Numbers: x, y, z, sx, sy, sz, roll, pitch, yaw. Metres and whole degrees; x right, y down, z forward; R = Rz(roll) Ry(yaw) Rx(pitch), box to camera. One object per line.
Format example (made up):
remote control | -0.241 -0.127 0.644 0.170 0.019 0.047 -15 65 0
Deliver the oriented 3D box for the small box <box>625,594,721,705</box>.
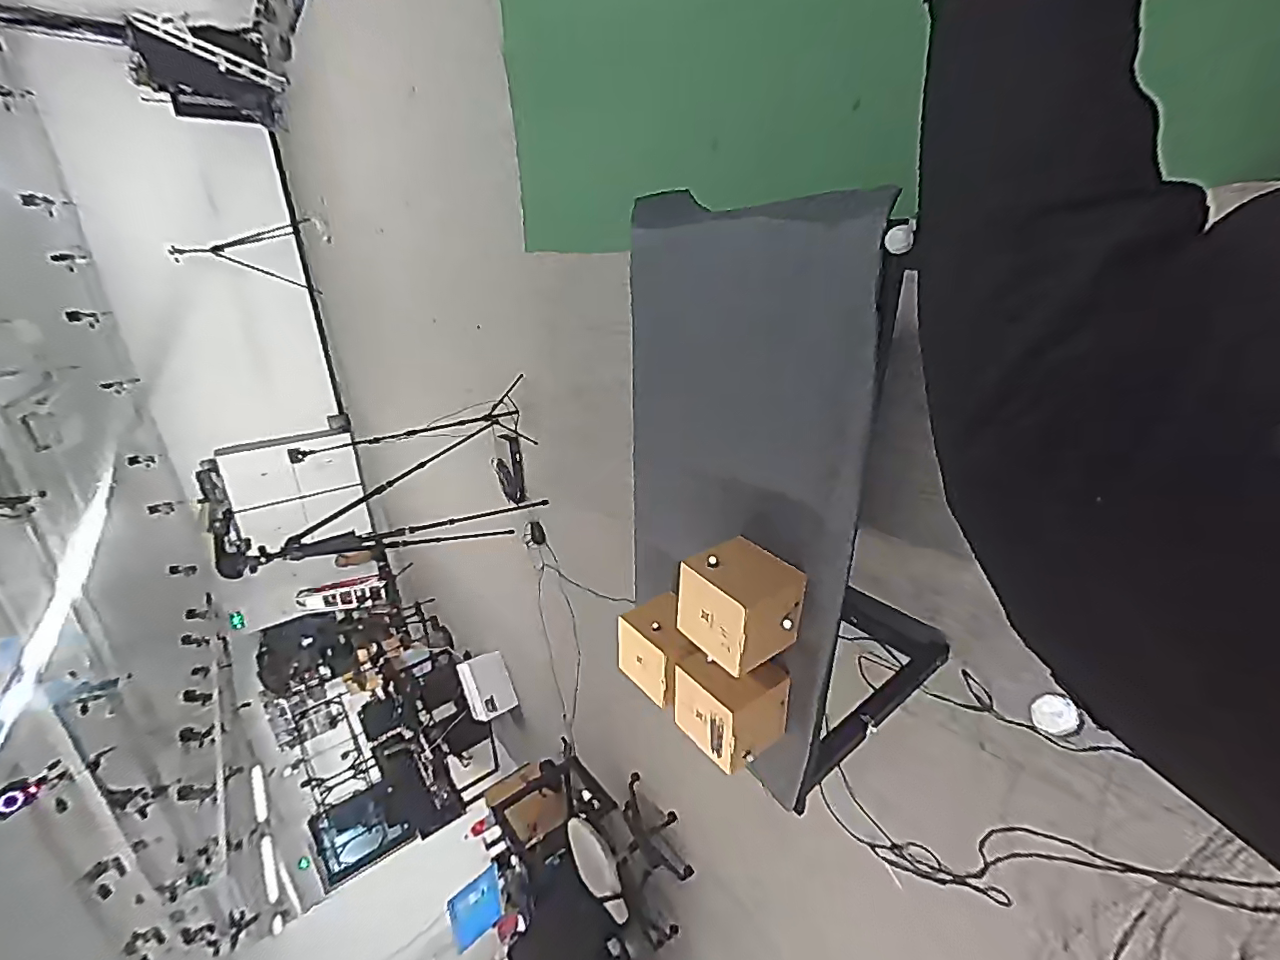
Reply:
small box | 0.080 0.401 1.318 0.179 0.176 0.168 26 125 45

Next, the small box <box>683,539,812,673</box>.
small box | 0.206 0.234 1.060 0.179 0.176 0.168 30 128 46
